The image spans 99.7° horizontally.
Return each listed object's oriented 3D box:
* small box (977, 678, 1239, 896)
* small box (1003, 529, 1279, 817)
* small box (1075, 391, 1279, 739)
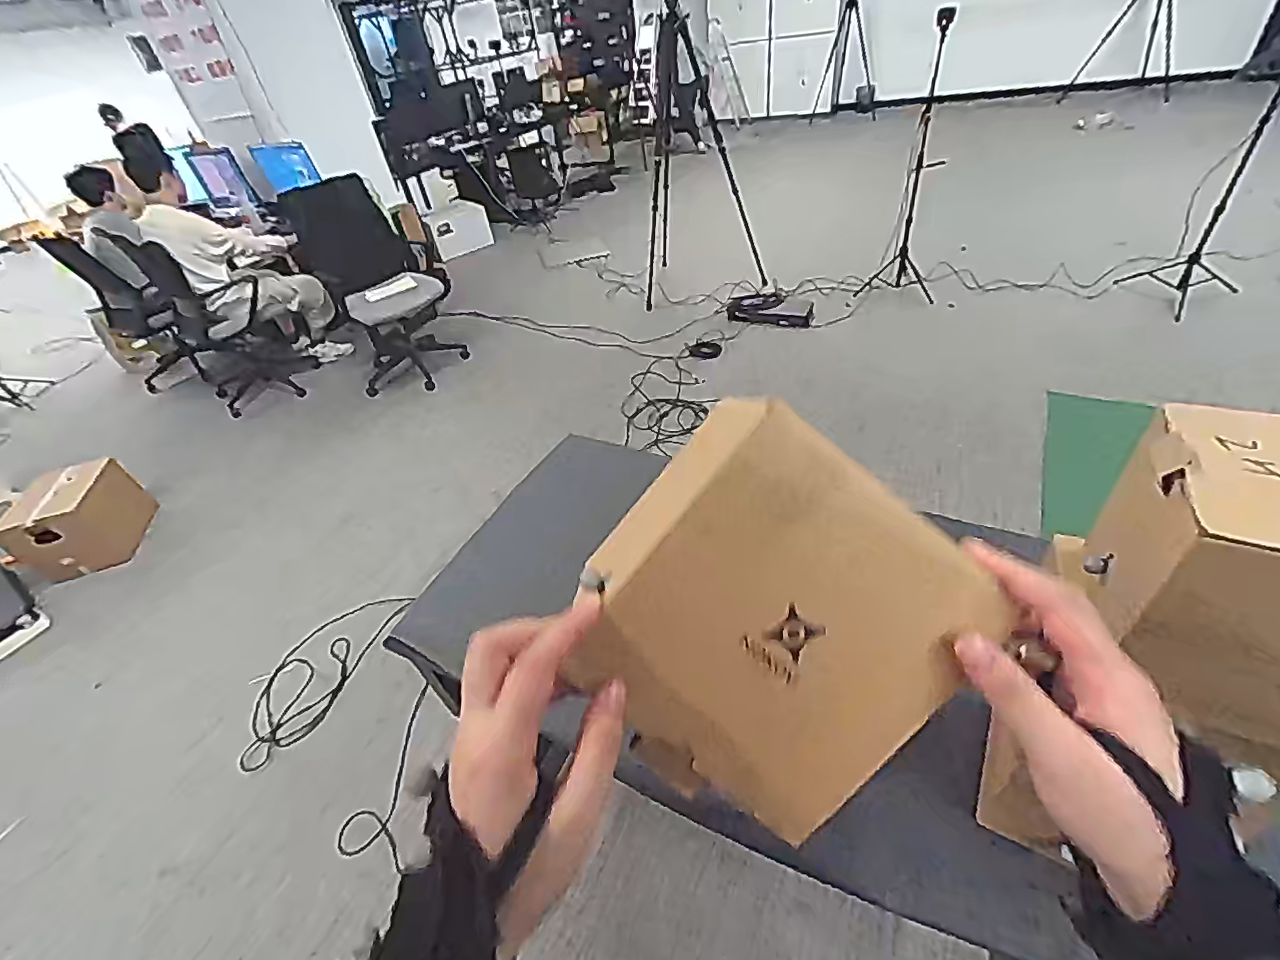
[{"bbox_3d":[0.492,0.302,0.596,0.168,0.176,0.179,16,46,29],"label":"small box"},{"bbox_3d":[0.462,0.174,0.499,0.179,0.176,0.168,9,40,24],"label":"small box"},{"bbox_3d":[0.443,0.062,0.377,0.179,0.176,0.168,14,42,27],"label":"small box"}]
